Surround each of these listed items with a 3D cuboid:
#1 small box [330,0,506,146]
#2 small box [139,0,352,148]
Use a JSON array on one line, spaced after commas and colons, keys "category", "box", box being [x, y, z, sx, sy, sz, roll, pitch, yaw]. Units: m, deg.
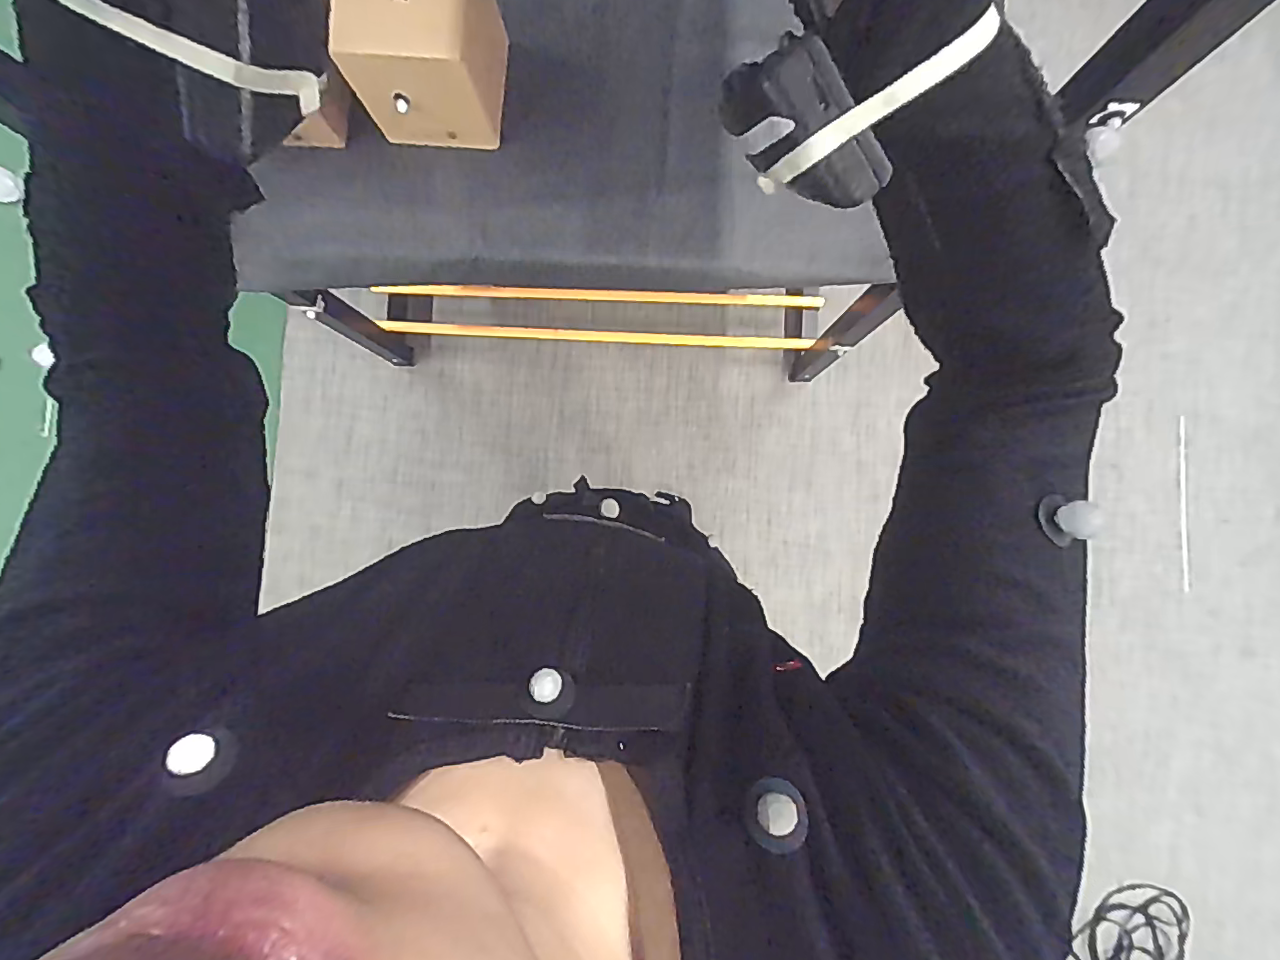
[{"category": "small box", "box": [-0.287, -0.591, 0.735, 0.168, 0.176, 0.179, 4, 86, 0]}, {"category": "small box", "box": [-0.515, -0.593, 0.734, 0.168, 0.176, 0.179, 3, 87, 0]}]
